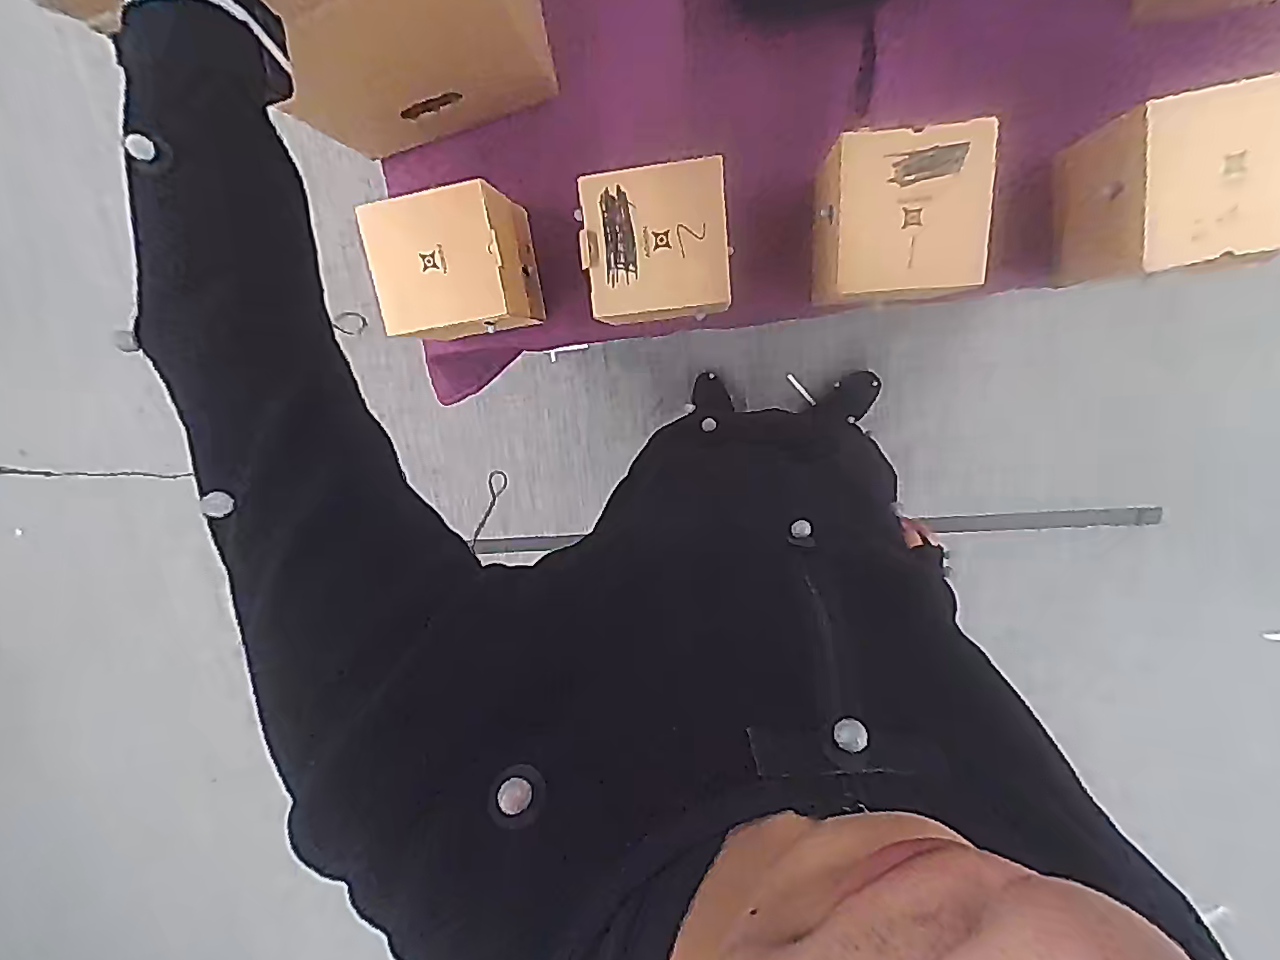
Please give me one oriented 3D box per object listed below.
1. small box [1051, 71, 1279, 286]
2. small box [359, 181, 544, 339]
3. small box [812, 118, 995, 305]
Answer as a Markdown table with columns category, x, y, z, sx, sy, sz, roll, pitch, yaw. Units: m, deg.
| category | x | y | z | sx | sy | sz | roll | pitch | yaw |
| --- | --- | --- | --- | --- | --- | --- | --- | --- | --- |
| small box | 0.629 | -0.343 | 0.646 | 0.168 | 0.176 | 0.179 | -7 | 103 | 10 |
| small box | -0.255 | -0.298 | 0.772 | 0.179 | 0.176 | 0.168 | -8 | 102 | 8 |
| small box | 0.319 | -0.326 | 0.692 | 0.168 | 0.176 | 0.179 | -1 | 104 | 8 |
